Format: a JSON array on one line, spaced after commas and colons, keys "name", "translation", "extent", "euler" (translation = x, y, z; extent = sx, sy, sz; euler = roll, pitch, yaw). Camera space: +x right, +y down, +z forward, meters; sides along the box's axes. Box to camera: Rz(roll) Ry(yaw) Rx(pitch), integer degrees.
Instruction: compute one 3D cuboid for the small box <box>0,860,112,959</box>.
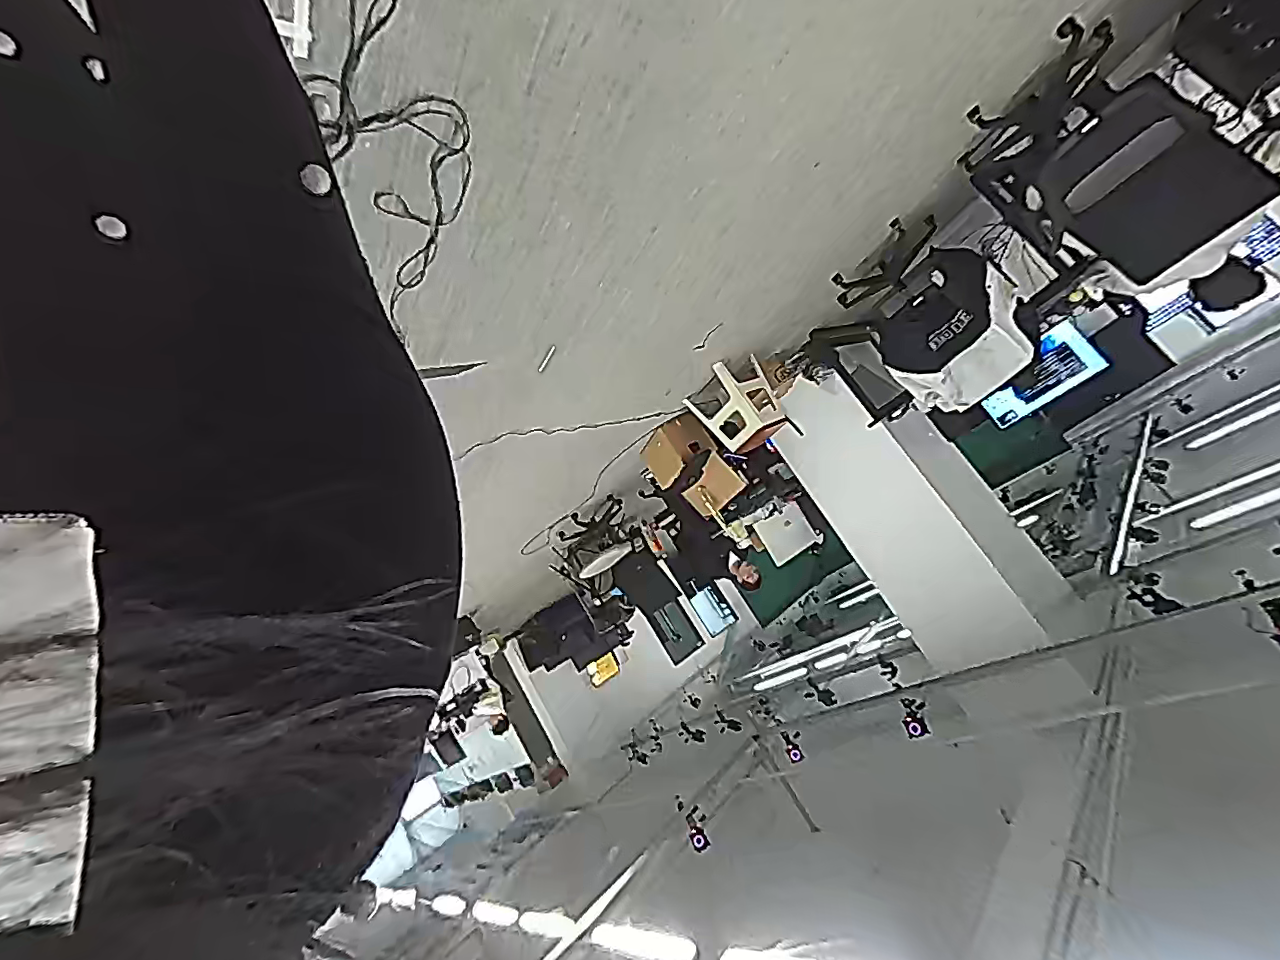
[{"name": "small box", "translation": [-1.509, 1.115, 1.388], "extent": [0.179, 0.176, 0.168], "euler": [-19, 162, -44]}]
